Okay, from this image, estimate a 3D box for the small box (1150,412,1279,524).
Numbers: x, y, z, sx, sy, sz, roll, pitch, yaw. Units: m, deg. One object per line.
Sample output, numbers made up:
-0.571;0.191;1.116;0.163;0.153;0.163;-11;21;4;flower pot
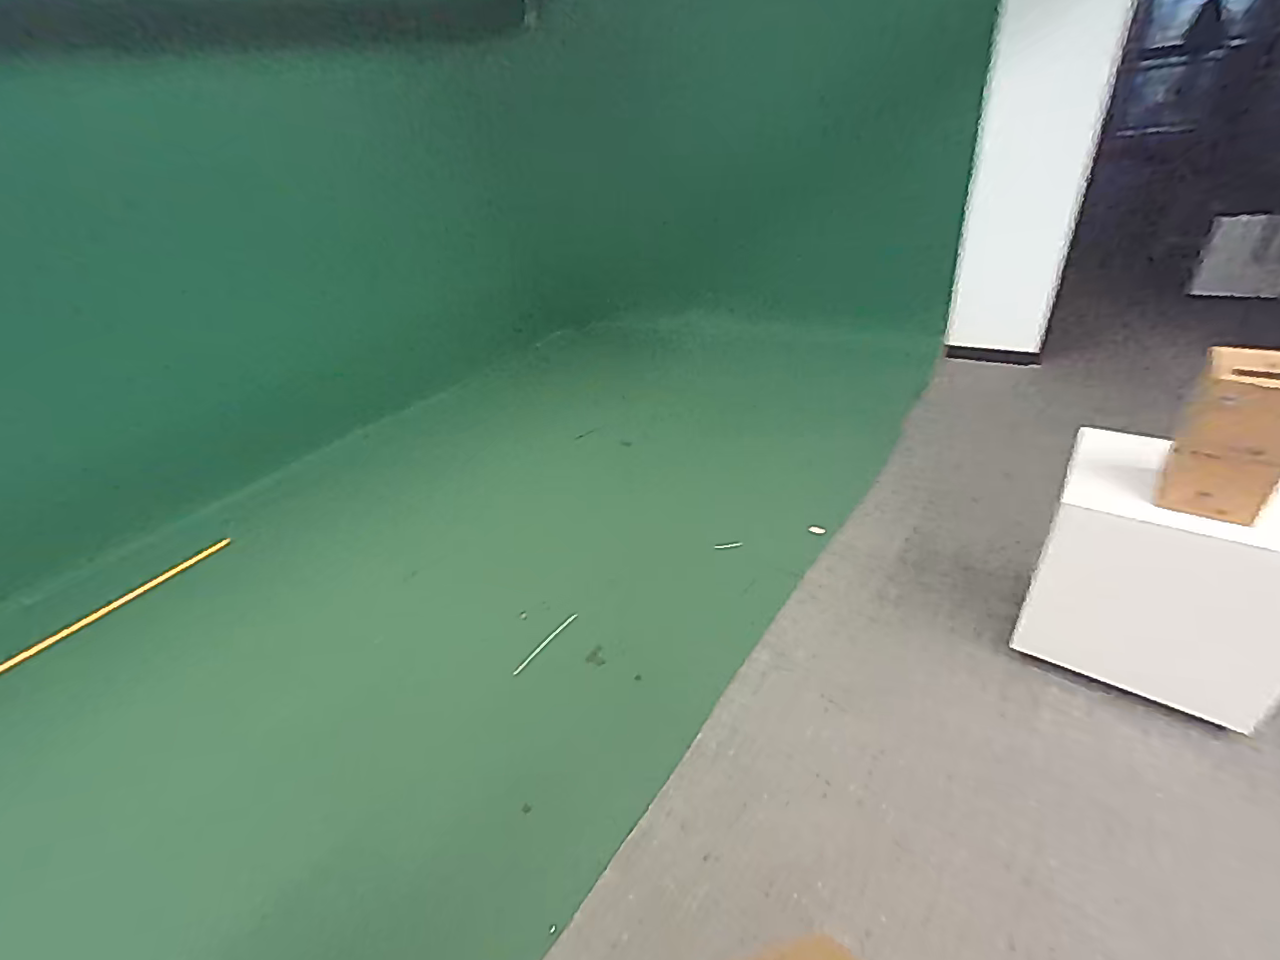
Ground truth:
1.291;-0.031;1.220;0.168;0.176;0.179;18;42;36;small box
